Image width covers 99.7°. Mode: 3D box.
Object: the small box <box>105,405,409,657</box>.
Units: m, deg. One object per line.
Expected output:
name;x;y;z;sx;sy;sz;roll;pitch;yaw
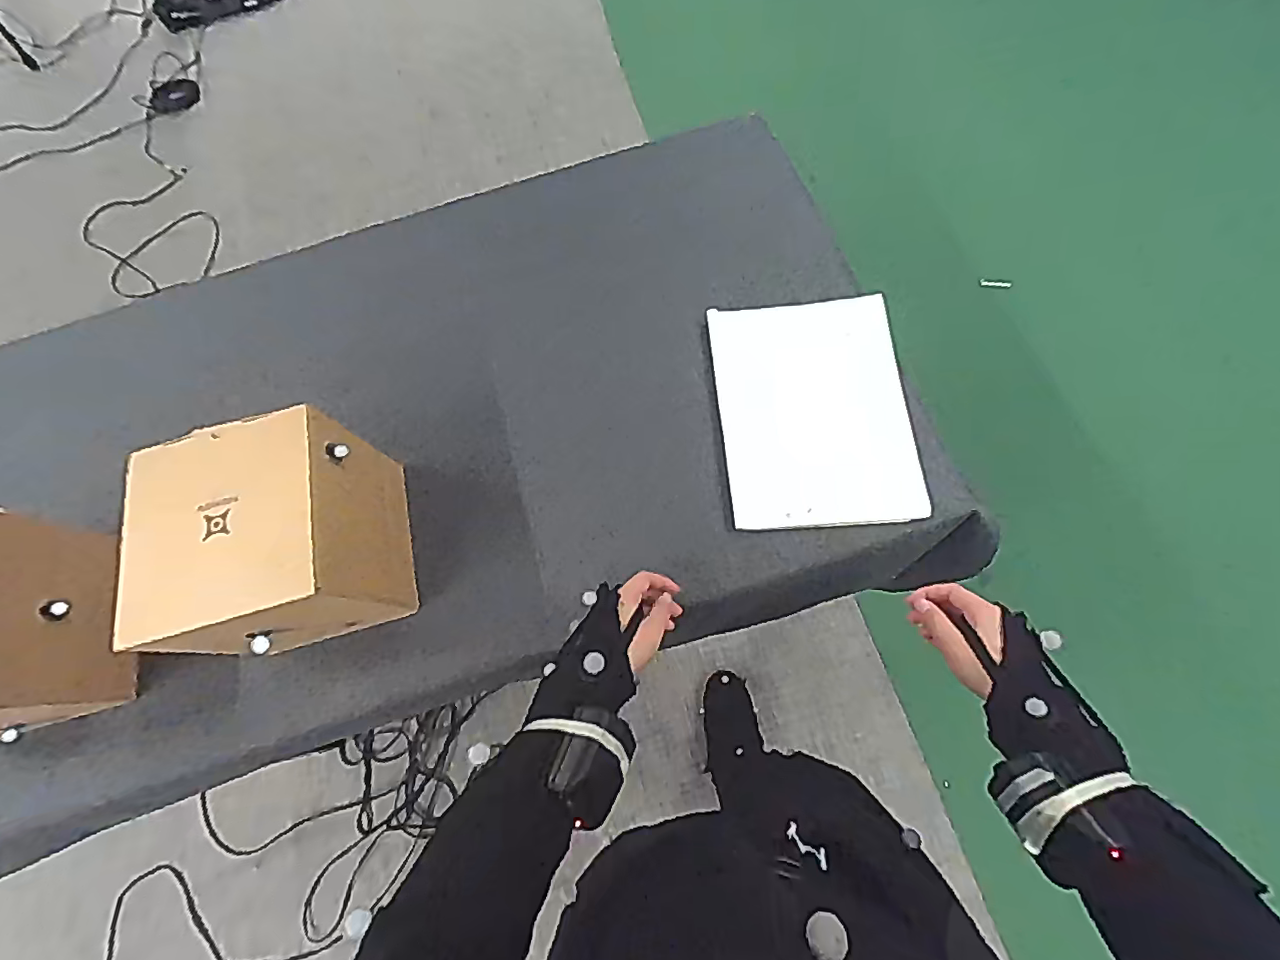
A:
small box;-0.340;0.059;0.513;0.168;0.176;0.179;-16;69;1
